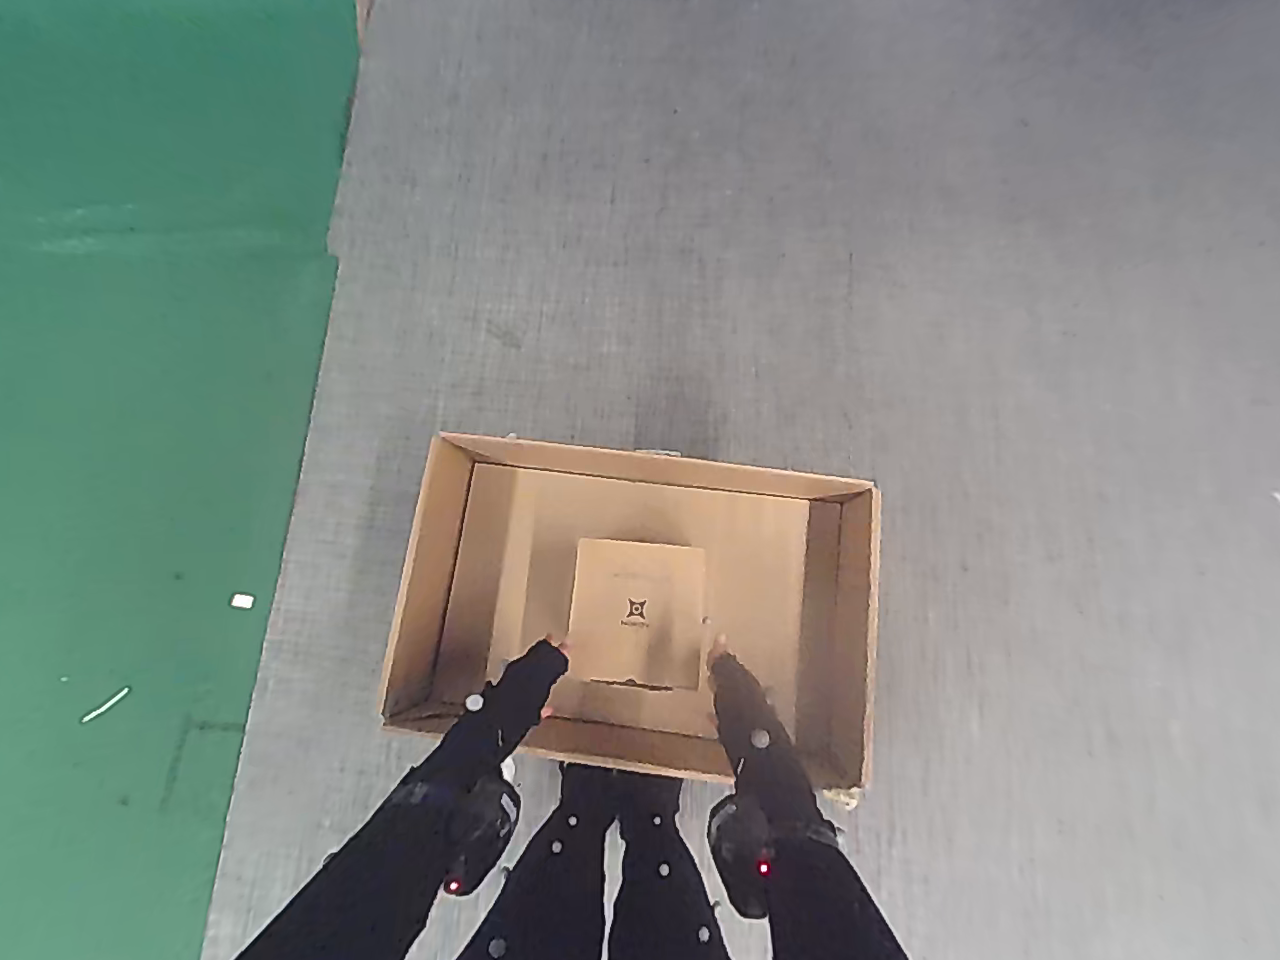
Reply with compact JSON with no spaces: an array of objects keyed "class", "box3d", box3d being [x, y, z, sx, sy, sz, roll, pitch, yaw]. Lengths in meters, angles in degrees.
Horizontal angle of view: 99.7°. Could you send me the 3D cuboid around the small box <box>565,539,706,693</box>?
[{"class":"small box","box3d":[-0.001,0.183,0.751,0.168,0.176,0.179,4,77,2]}]
